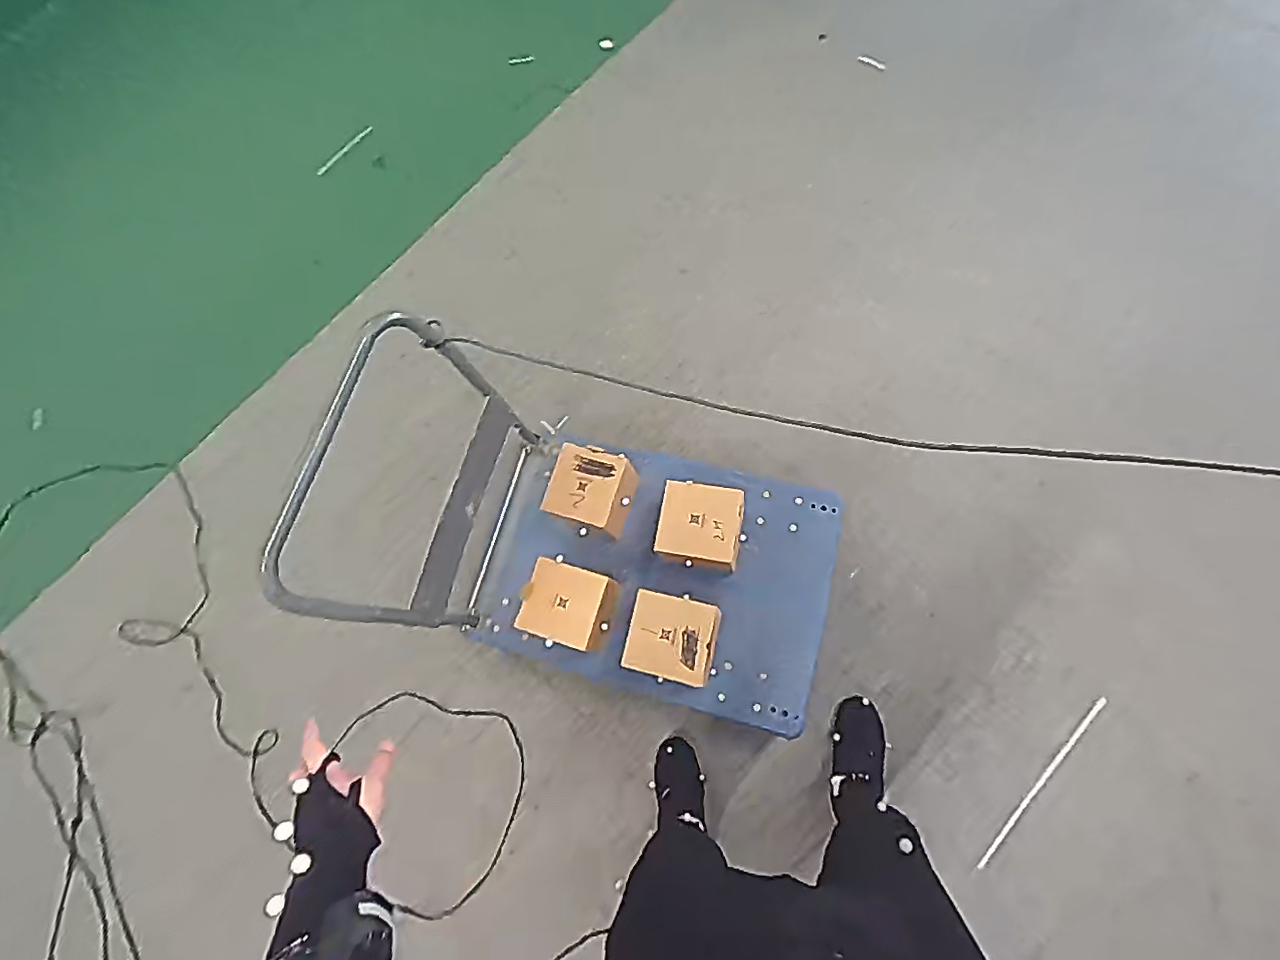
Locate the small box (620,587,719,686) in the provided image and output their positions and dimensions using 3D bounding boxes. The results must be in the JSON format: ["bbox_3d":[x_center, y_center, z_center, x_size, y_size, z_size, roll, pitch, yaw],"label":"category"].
[{"bbox_3d":[0.074,0.344,1.193,0.179,0.176,0.168,11,74,14],"label":"small box"}]

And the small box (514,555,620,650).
[{"bbox_3d":[-0.159,0.287,1.258,0.179,0.176,0.168,14,76,15],"label":"small box"}]

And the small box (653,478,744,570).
[{"bbox_3d":[0.141,0.107,1.257,0.179,0.176,0.168,9,75,13],"label":"small box"}]
